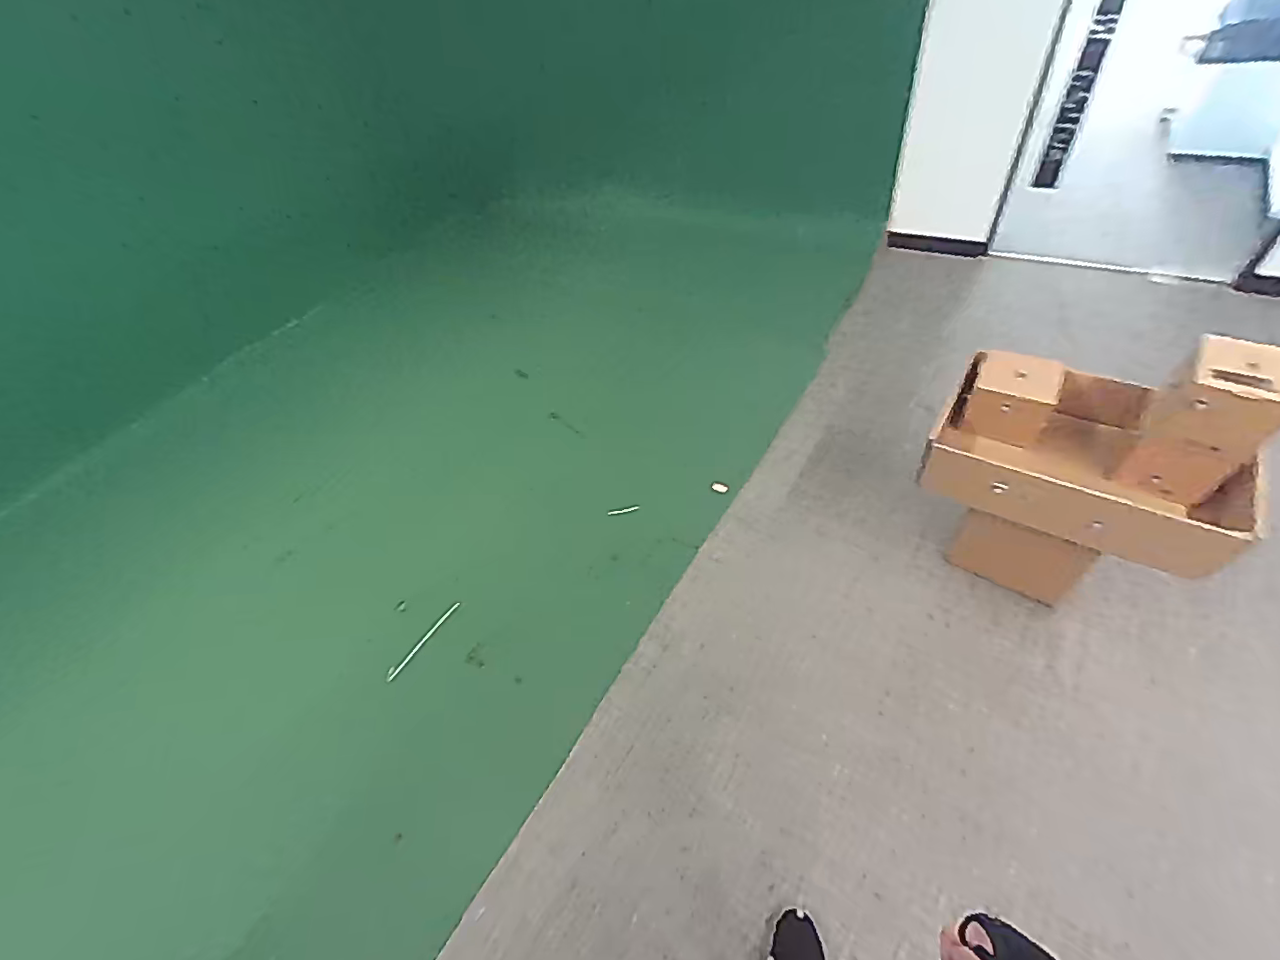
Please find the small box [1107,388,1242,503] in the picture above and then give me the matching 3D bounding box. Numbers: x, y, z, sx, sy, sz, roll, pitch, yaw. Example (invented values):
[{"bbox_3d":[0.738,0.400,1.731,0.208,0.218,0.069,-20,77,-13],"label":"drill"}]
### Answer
[{"bbox_3d":[1.248,-0.079,1.271,0.168,0.176,0.179,24,61,27],"label":"small box"}]
